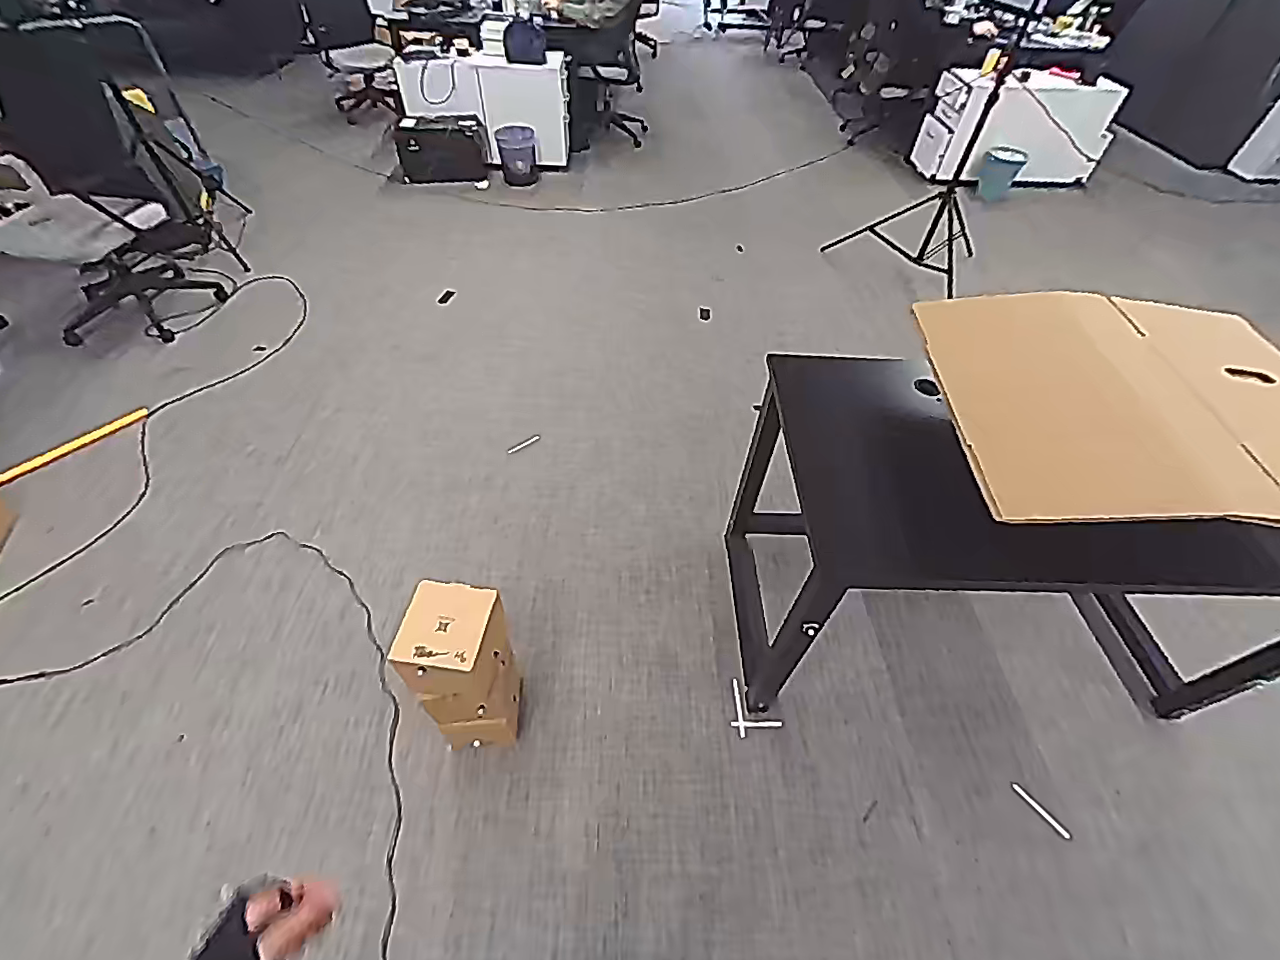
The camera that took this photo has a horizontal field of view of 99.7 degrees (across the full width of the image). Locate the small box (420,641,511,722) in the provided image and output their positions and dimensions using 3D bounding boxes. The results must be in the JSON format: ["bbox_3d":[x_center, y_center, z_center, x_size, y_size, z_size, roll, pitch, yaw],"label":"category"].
[{"bbox_3d":[-0.395,0.448,1.256,0.168,0.176,0.179,-4,48,-7],"label":"small box"}]

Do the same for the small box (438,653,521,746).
[{"bbox_3d":[-0.398,0.558,1.374,0.168,0.176,0.179,-2,50,-4],"label":"small box"}]

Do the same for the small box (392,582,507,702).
[{"bbox_3d":[-0.386,0.340,1.132,0.168,0.176,0.179,7,48,3],"label":"small box"}]
